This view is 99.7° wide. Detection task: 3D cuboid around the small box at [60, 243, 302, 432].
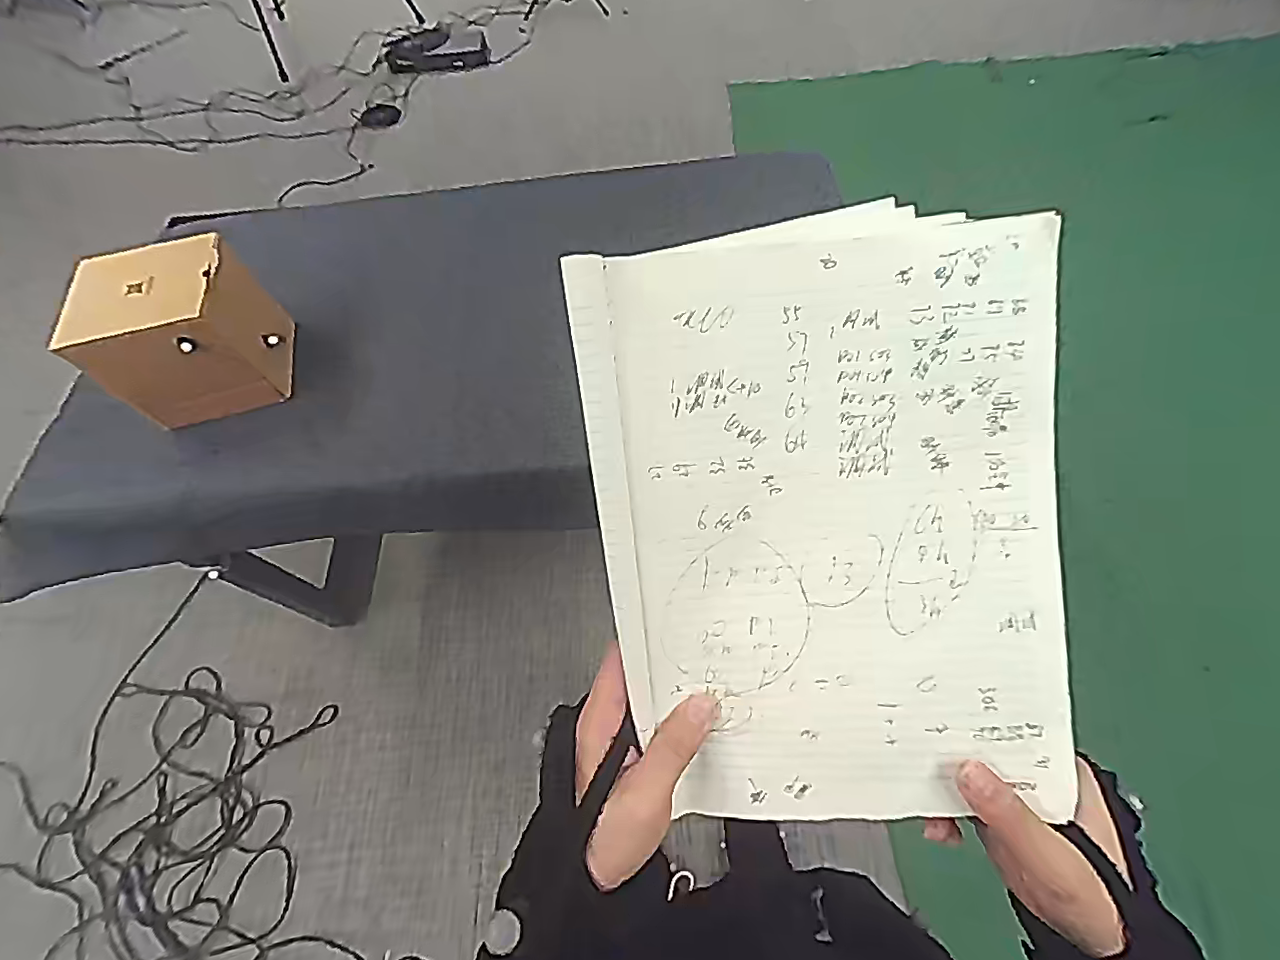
[{"bbox_3d":[-0.609,-0.188,0.745,0.179,0.176,0.168,-15,60,-5],"label":"small box"}]
